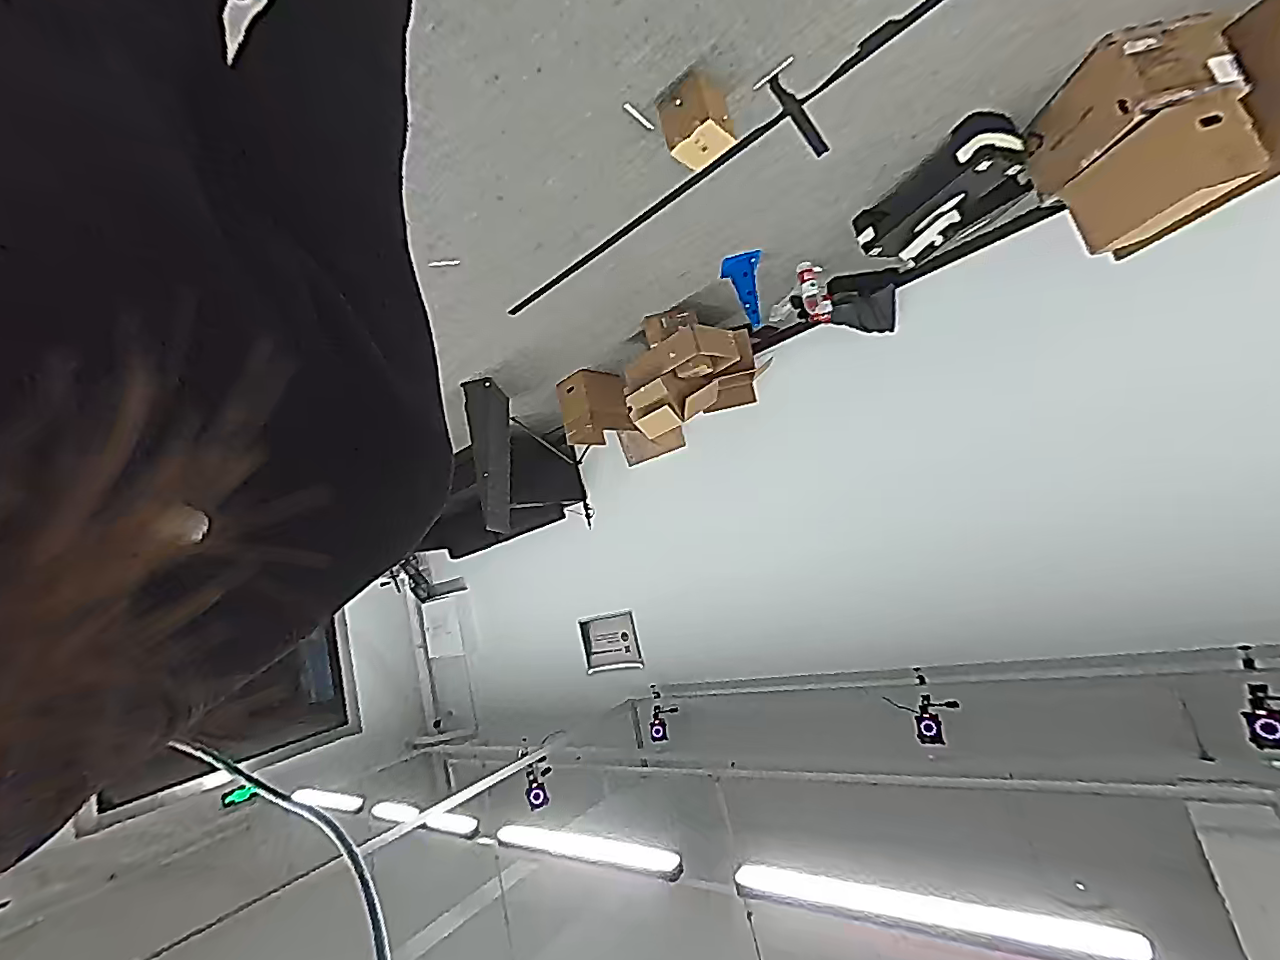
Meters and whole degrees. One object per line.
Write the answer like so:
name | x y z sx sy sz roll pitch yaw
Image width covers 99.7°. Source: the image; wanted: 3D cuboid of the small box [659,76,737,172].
small box | 0.187 -1.155 1.756 0.168 0.176 0.179 -21 168 39
